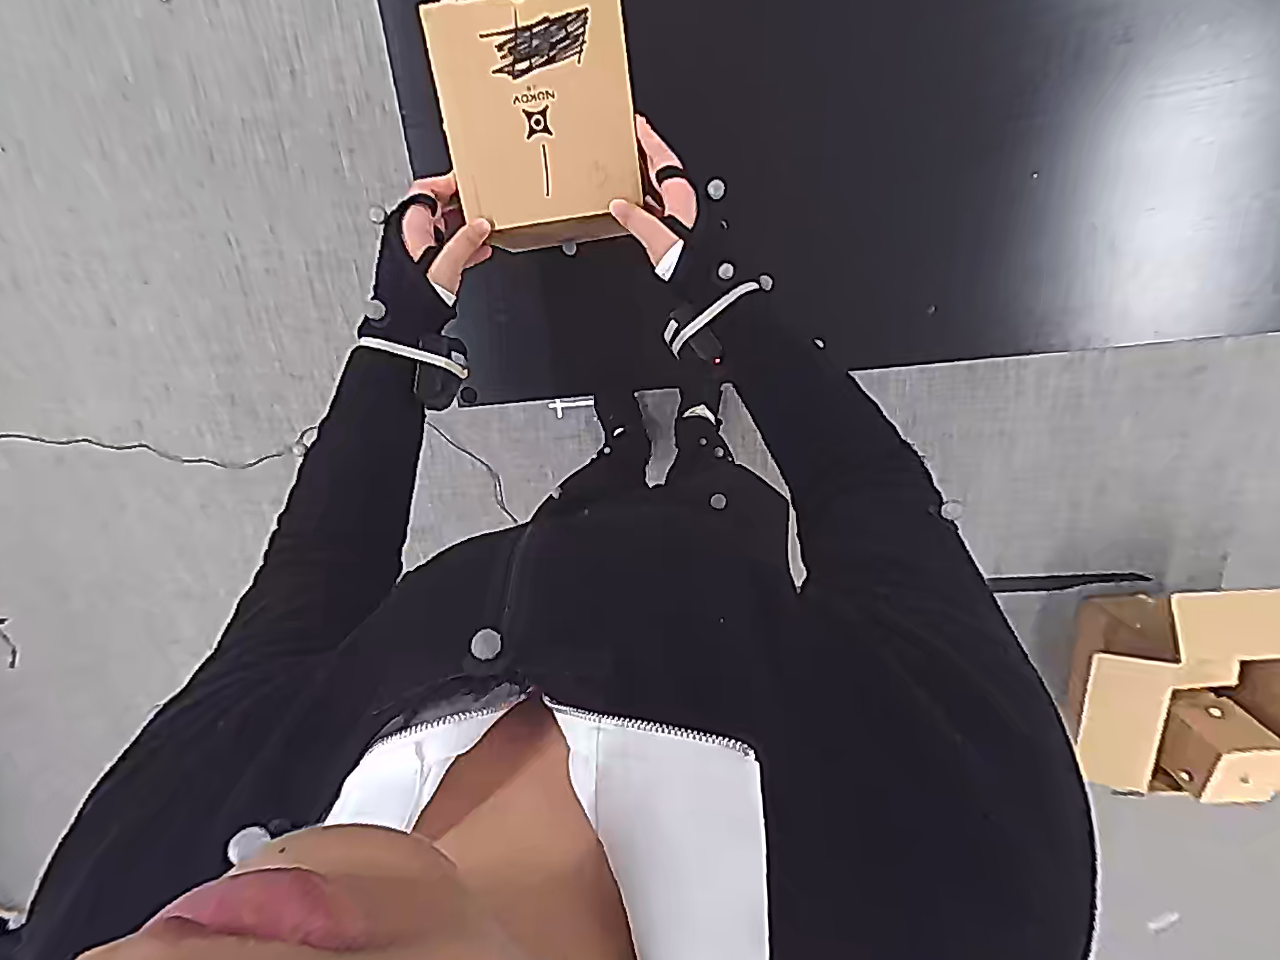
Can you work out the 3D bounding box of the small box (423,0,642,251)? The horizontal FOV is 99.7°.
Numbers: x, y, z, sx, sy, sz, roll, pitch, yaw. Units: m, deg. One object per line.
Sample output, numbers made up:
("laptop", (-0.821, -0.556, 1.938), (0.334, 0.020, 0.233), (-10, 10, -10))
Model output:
("small box", (-0.089, -0.341, 0.545), (0.168, 0.176, 0.179), (-7, 108, 4))
